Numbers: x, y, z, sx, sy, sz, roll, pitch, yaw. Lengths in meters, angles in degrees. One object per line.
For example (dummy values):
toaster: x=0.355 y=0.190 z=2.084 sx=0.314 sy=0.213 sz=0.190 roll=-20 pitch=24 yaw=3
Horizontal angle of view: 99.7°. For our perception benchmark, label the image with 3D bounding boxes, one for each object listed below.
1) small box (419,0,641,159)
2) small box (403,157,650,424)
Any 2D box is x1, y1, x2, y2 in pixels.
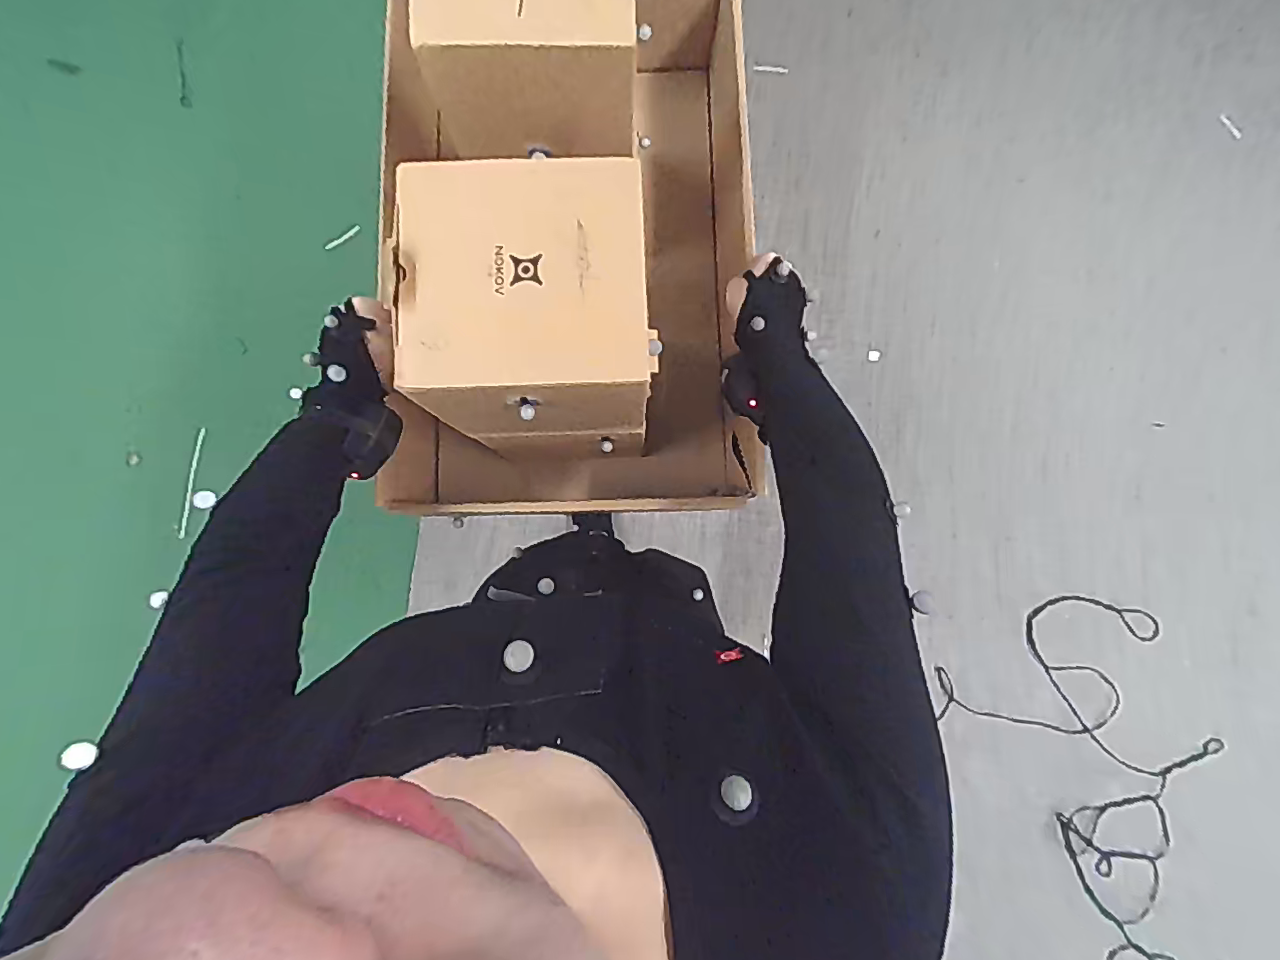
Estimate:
small box: x=-0.085 y=-0.400 z=0.486 sx=0.168 sy=0.176 sz=0.179 roll=0 pitch=87 yaw=-2
small box: x=-0.084 y=-0.145 z=0.466 sx=0.179 sy=0.176 sz=0.168 roll=-2 pitch=85 yaw=-3
